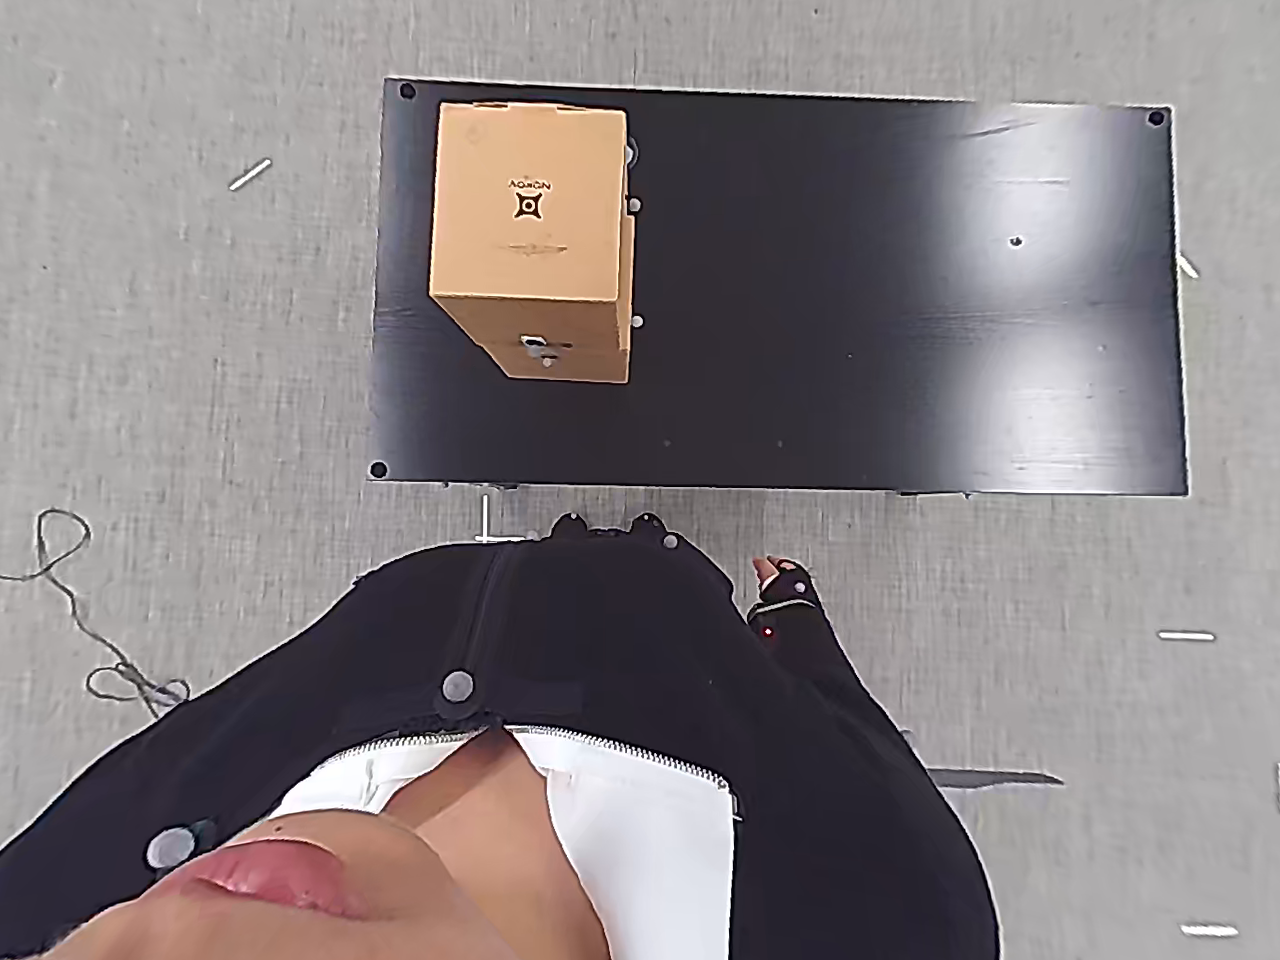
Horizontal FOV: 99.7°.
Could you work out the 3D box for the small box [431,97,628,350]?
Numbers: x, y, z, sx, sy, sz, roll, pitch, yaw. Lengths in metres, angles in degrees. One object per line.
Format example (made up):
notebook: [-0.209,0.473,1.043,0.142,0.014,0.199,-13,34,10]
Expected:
small box: [-0.098,-0.245,0.554,0.168,0.176,0.179,1,88,0]

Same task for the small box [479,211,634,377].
small box: [-0.100,-0.238,0.716,0.179,0.176,0.168,3,87,-2]
